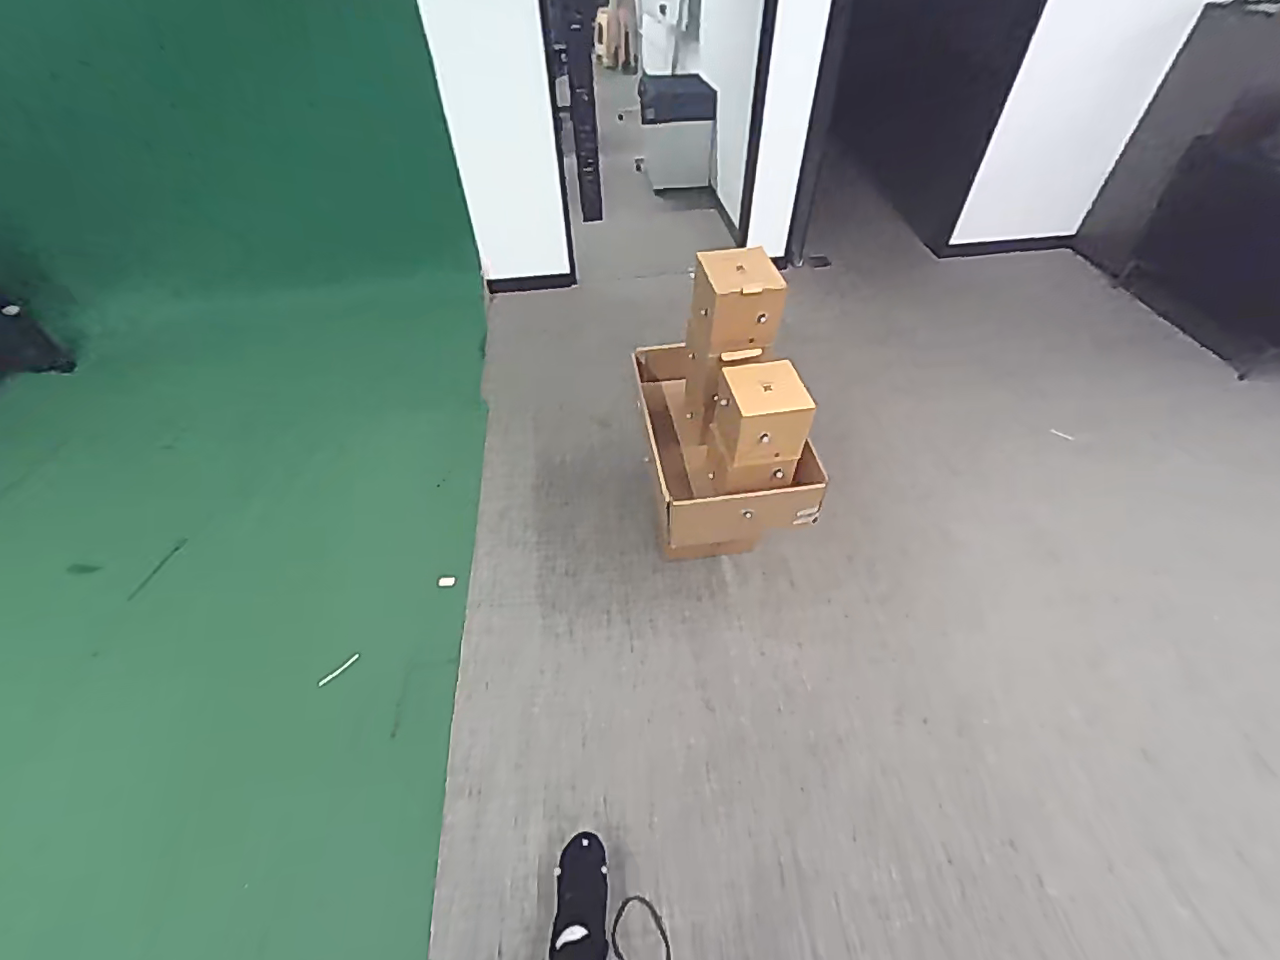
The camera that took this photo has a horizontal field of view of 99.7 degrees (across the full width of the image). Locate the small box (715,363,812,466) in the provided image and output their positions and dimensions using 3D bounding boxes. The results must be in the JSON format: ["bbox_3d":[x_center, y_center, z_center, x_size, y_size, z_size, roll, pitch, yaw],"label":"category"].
[{"bbox_3d":[0.280,-0.148,1.269,0.168,0.176,0.179,-8,48,-6],"label":"small box"}]

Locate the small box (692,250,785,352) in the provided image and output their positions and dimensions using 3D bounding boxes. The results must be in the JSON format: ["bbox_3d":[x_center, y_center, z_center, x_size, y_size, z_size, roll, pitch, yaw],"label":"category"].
[{"bbox_3d":[0.227,-0.422,1.295,0.168,0.176,0.179,-8,52,-7],"label":"small box"}]

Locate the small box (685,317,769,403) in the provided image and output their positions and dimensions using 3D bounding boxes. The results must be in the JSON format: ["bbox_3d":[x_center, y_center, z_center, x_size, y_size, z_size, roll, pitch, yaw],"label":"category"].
[{"bbox_3d":[0.221,-0.319,1.421,0.168,0.176,0.179,-11,51,-8],"label":"small box"}]
